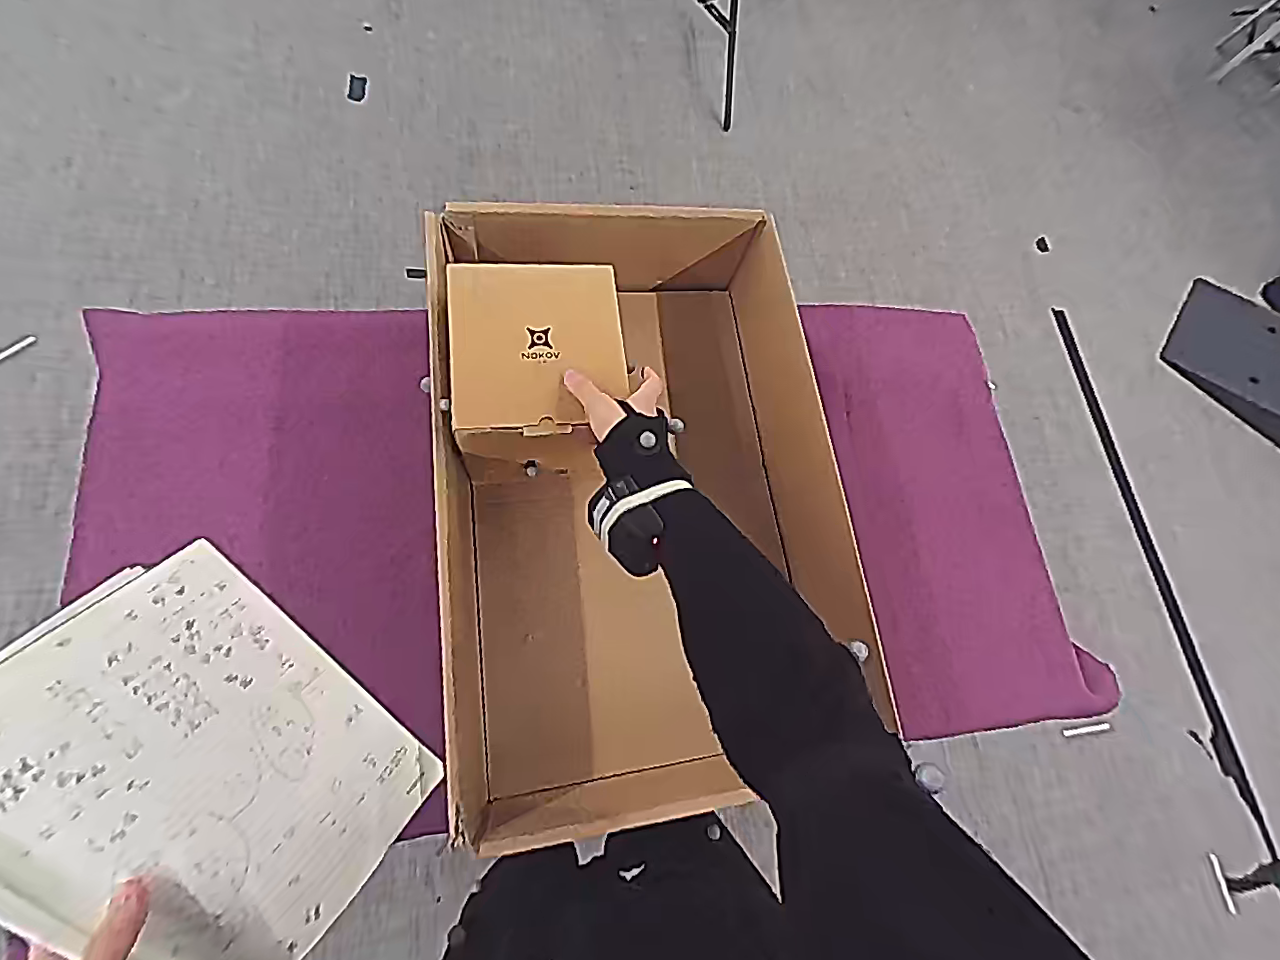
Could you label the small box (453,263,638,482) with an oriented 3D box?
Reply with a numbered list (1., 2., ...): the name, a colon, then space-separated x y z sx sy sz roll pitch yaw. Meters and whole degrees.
1. small box: -0.108 -0.109 0.591 0.168 0.176 0.179 -5 75 -13
